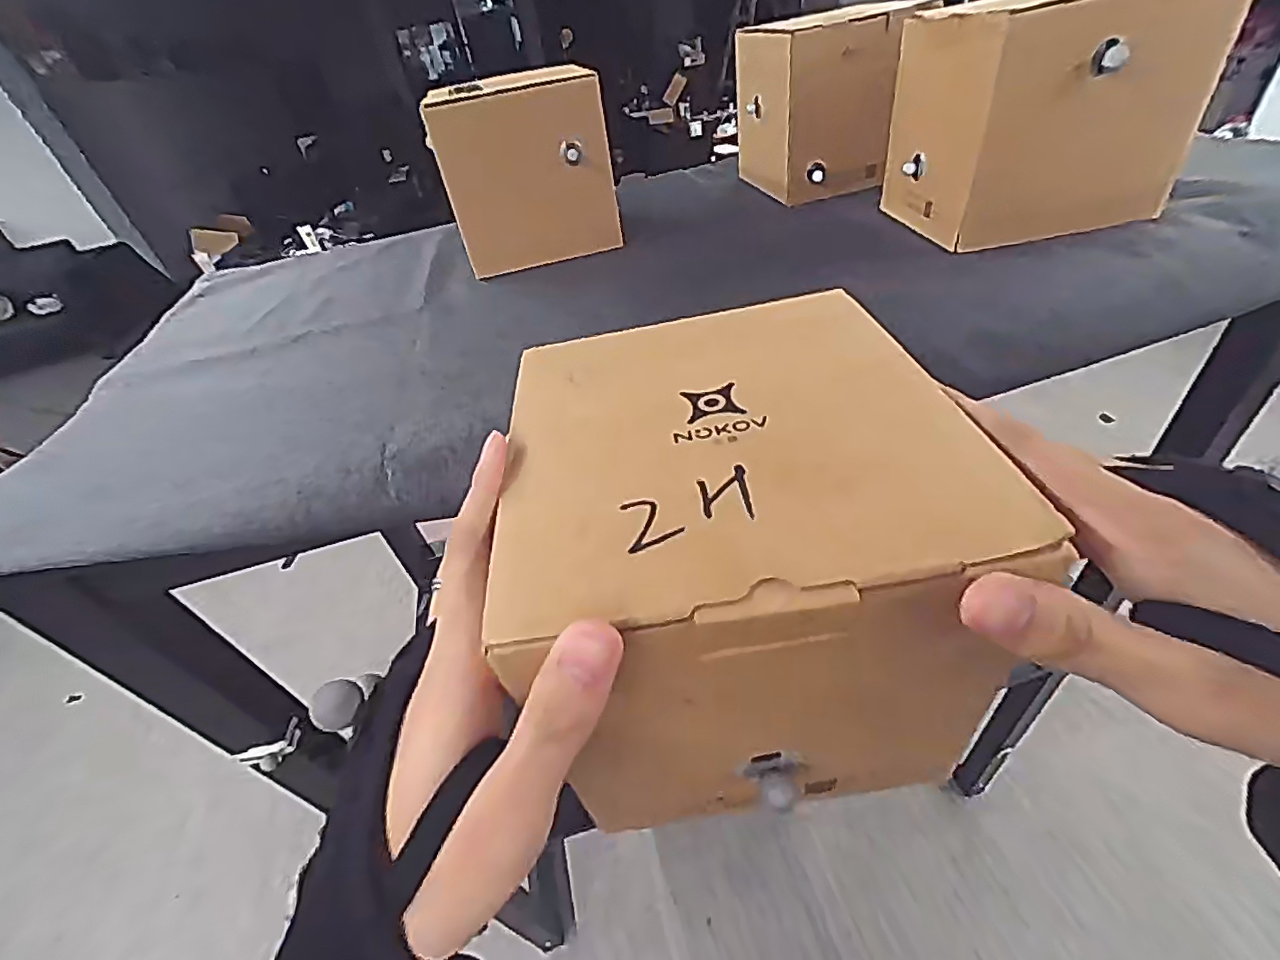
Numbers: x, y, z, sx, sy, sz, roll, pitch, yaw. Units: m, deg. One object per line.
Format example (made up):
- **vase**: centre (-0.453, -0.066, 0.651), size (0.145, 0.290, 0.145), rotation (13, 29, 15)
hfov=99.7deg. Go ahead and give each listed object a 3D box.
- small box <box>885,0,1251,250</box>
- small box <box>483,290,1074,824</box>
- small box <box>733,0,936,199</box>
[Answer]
- **small box**: centre (0.341, -0.324, 0.476), size (0.179, 0.176, 0.168), rotation (-10, 39, 3)
- **small box**: centre (0.042, 0.034, 0.262), size (0.168, 0.176, 0.179), rotation (-11, 42, 3)
- **small box**: centre (0.223, -0.460, 0.661), size (0.168, 0.176, 0.179), rotation (-14, 40, -3)
